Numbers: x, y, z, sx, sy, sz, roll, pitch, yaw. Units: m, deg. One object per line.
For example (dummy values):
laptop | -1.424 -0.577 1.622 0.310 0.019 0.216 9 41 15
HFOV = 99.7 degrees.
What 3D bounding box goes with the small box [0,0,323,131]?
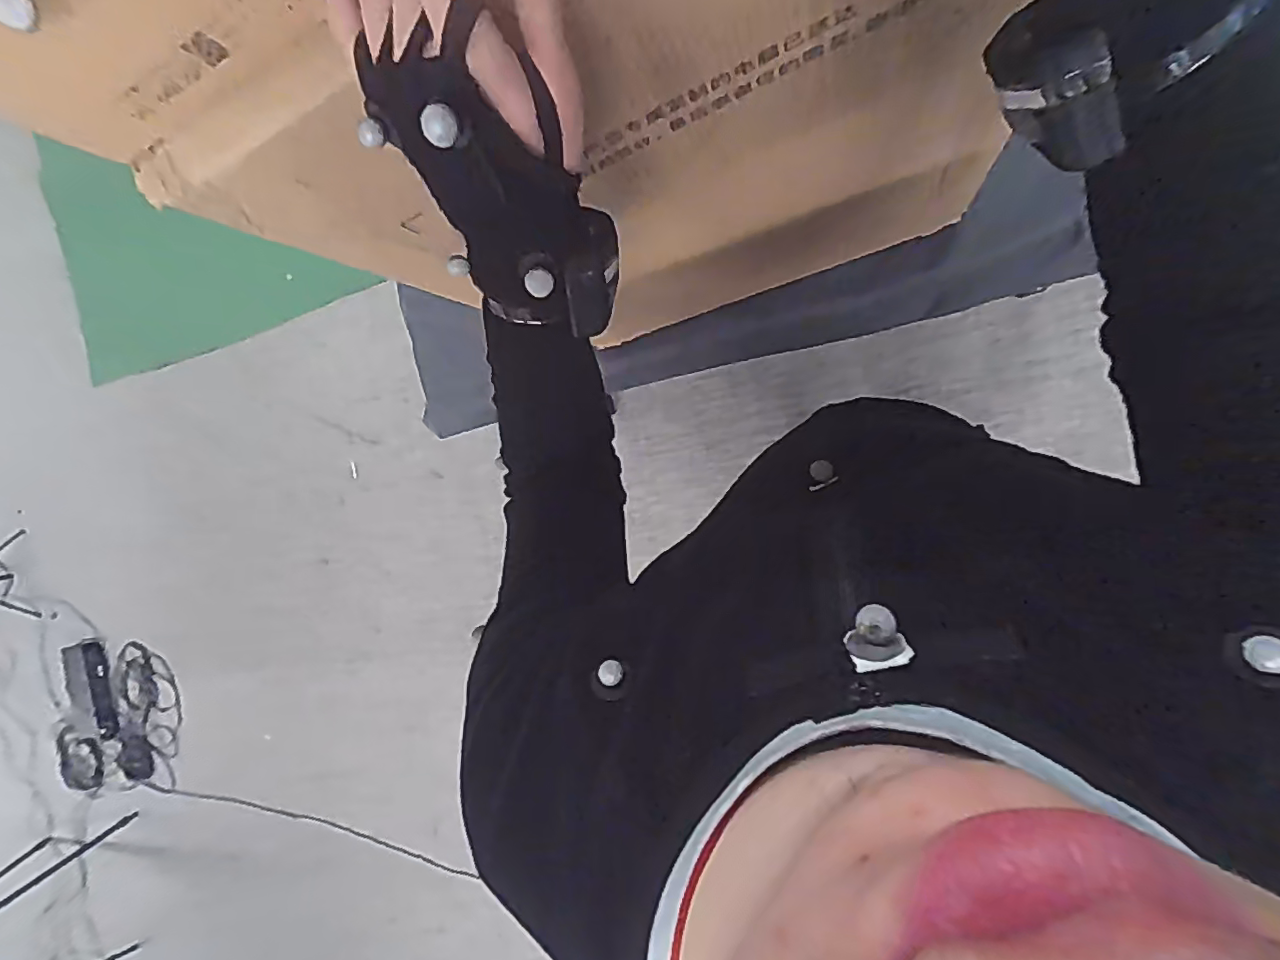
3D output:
small box | -0.249 -0.262 0.188 0.168 0.176 0.179 -13 92 20
